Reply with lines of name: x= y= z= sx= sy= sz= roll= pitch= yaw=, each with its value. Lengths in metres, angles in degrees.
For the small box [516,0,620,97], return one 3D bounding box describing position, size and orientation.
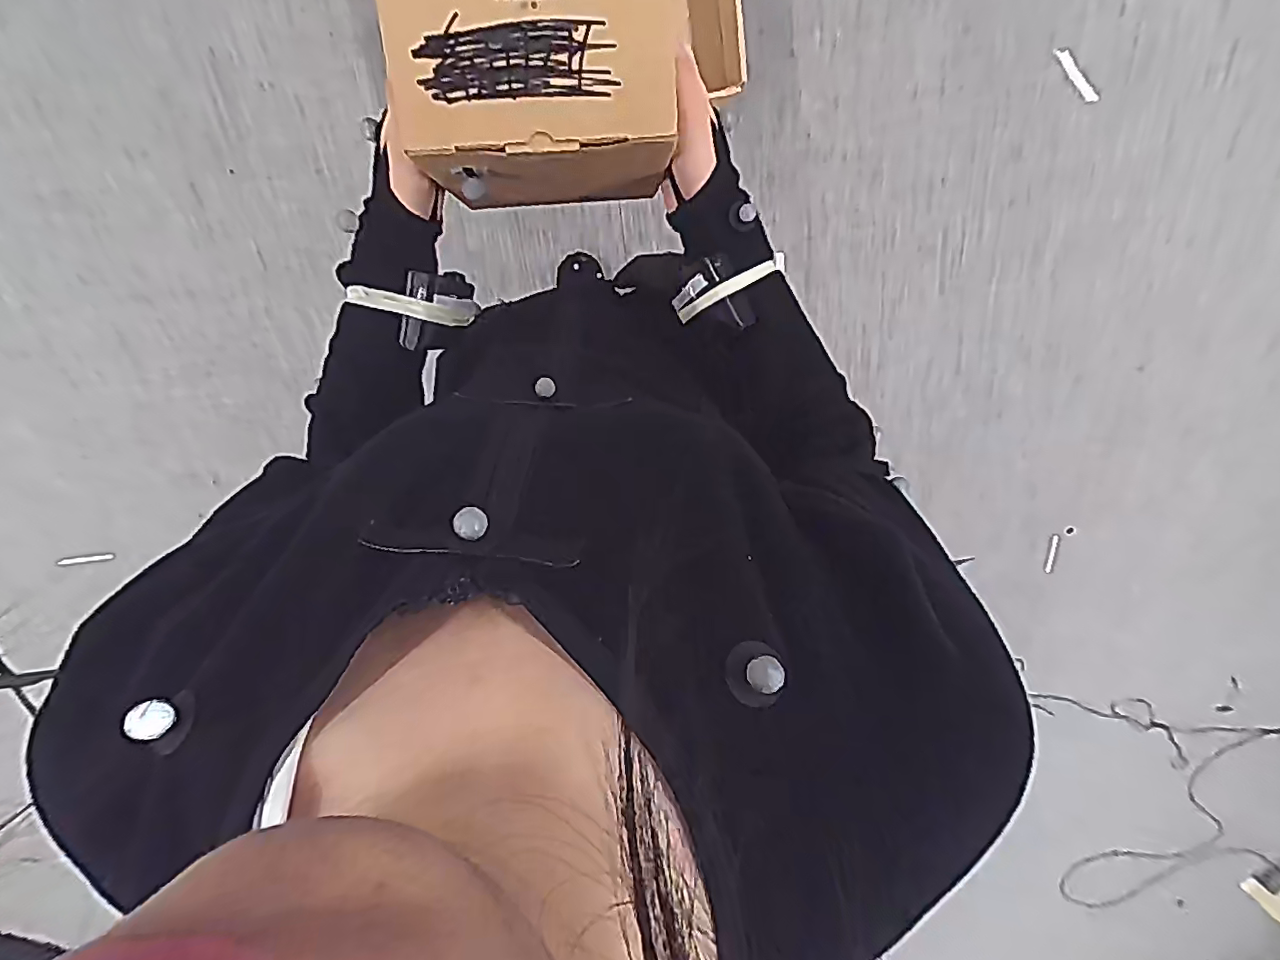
small box: x=-0.143 y=-0.881 z=1.043 sx=0.168 sy=0.176 sz=0.179 roll=-15 pitch=114 yaw=3
